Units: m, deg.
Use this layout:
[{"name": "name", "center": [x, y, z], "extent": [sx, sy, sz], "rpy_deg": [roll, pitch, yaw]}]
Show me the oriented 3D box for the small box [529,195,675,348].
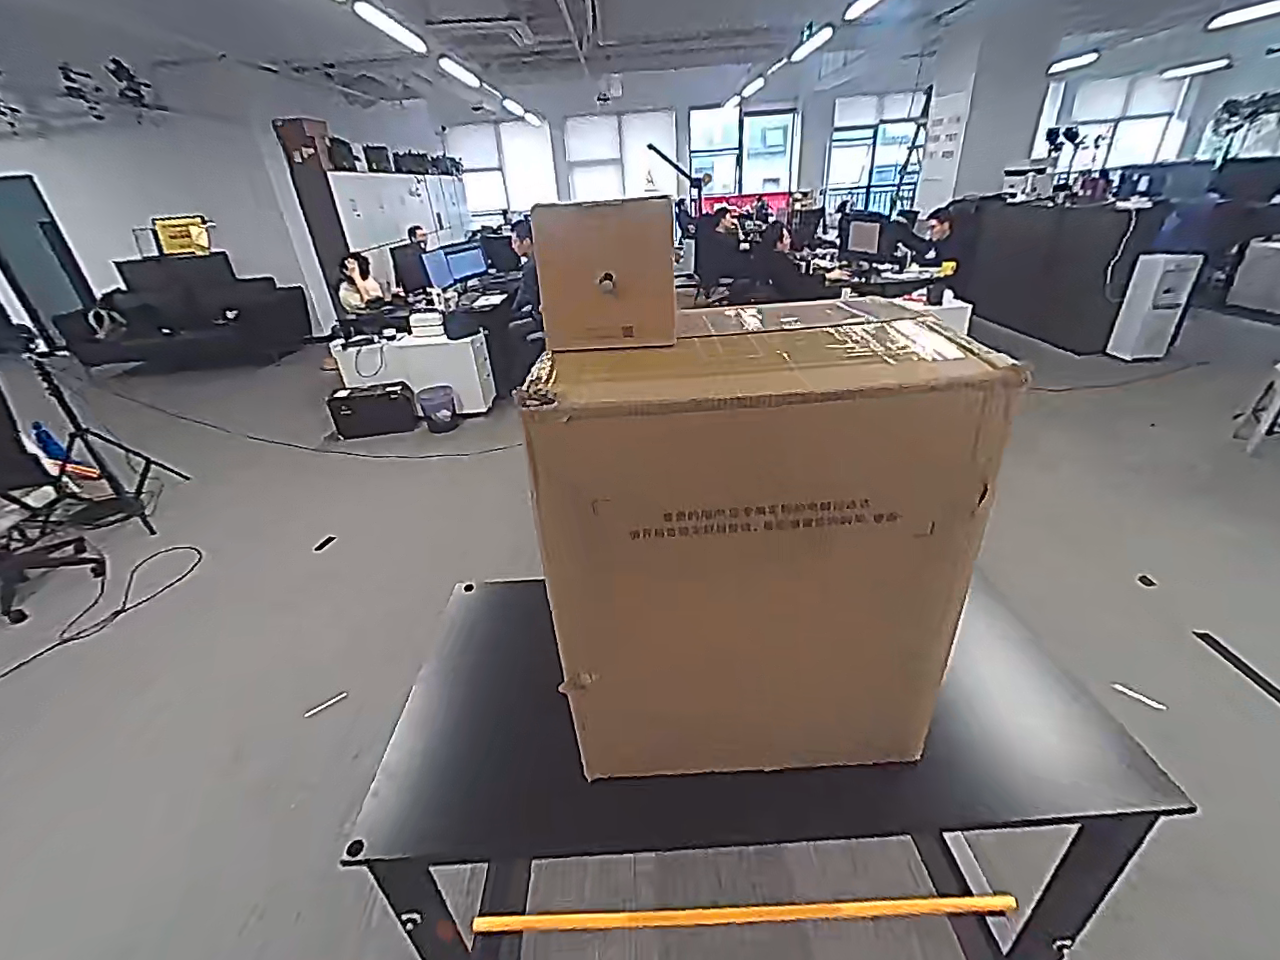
[{"name": "small box", "center": [-0.041, -0.276, 0.719], "extent": [0.168, 0.176, 0.179], "rpy_deg": [-3, 28, 1]}]
